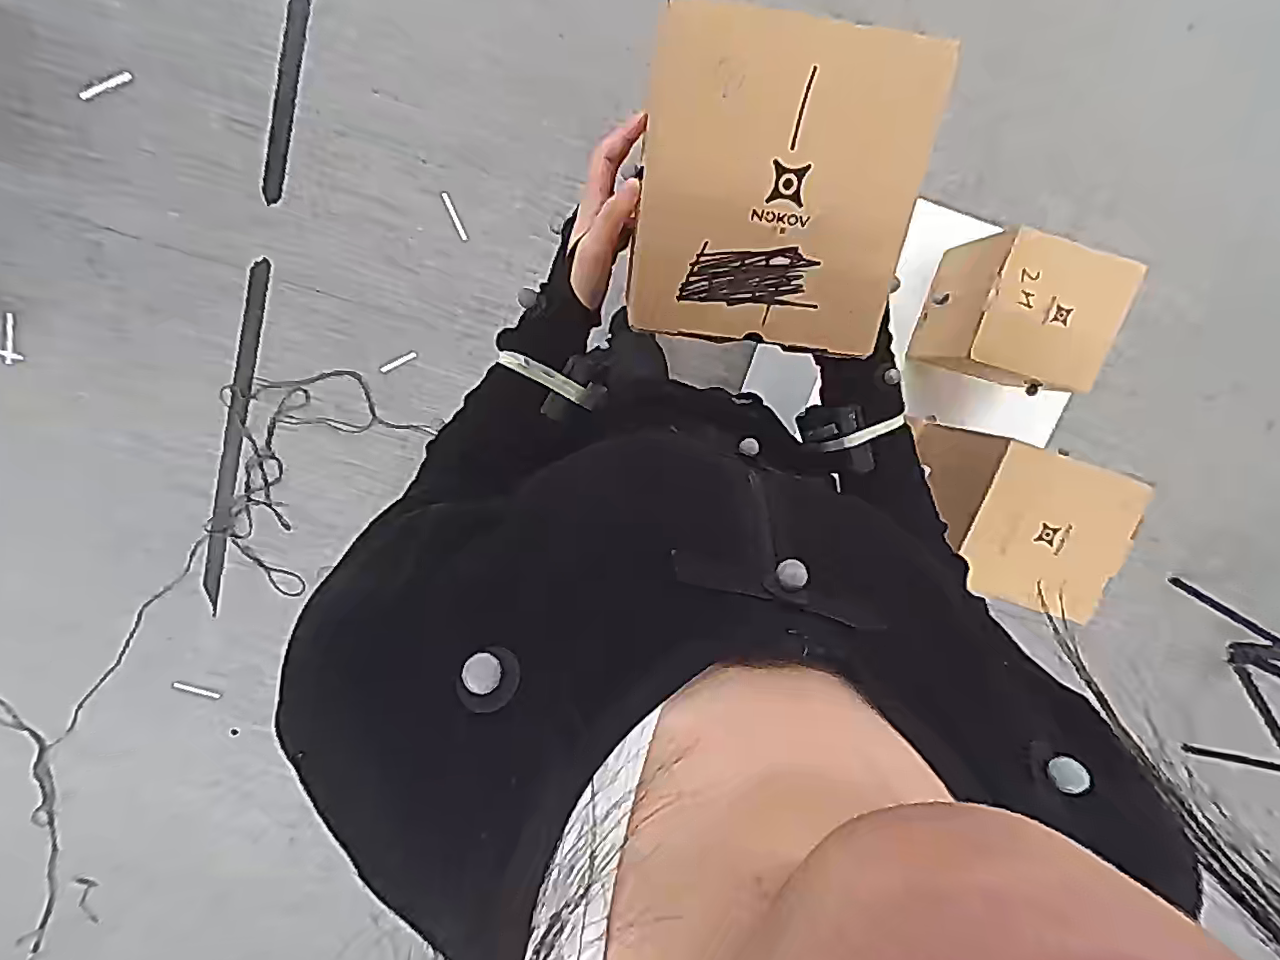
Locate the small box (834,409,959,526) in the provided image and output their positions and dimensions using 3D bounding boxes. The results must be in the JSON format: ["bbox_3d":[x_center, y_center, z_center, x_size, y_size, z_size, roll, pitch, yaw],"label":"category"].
[{"bbox_3d":[0.419,-0.004,0.810,0.179,0.176,0.168,19,101,-3],"label":"small box"}]

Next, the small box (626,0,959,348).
[{"bbox_3d":[0.080,-0.209,0.393,0.168,0.176,0.179,5,114,-6],"label":"small box"}]

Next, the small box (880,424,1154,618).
[{"bbox_3d":[0.431,0.037,0.652,0.179,0.176,0.168,17,101,-4],"label":"small box"}]

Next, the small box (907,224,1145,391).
[{"bbox_3d":[0.518,-0.233,0.756,0.179,0.176,0.168,15,103,-4],"label":"small box"}]
